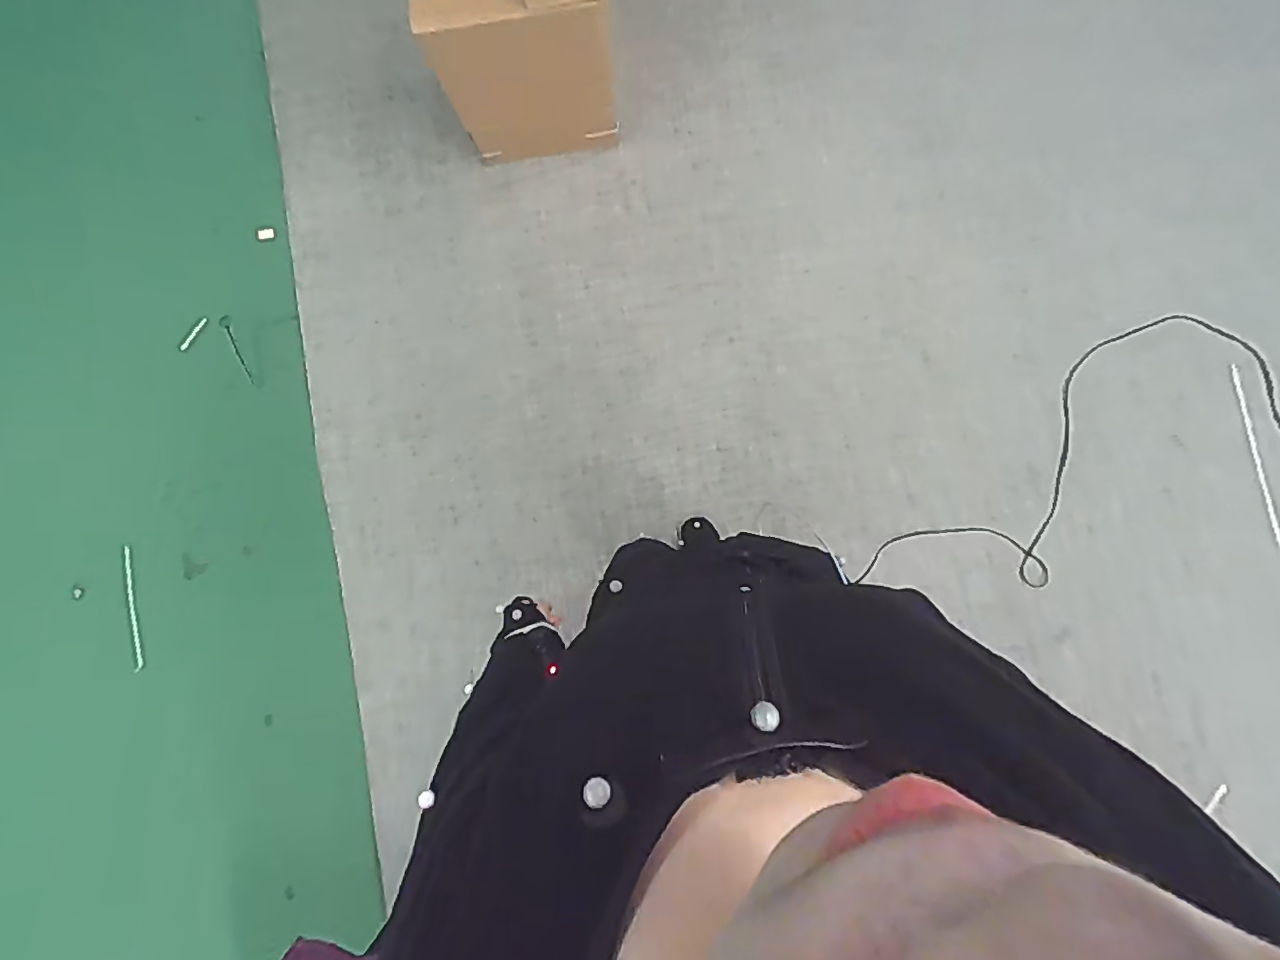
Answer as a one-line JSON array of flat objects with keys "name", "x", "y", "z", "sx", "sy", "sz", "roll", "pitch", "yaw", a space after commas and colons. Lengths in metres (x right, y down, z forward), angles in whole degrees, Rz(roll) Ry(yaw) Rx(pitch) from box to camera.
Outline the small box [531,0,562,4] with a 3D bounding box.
[{"name": "small box", "x": -0.169, "y": -1.073, "z": 1.044, "sx": 0.168, "sy": 0.176, "sz": 0.179, "roll": -8, "pitch": 86, "yaw": 4}]
